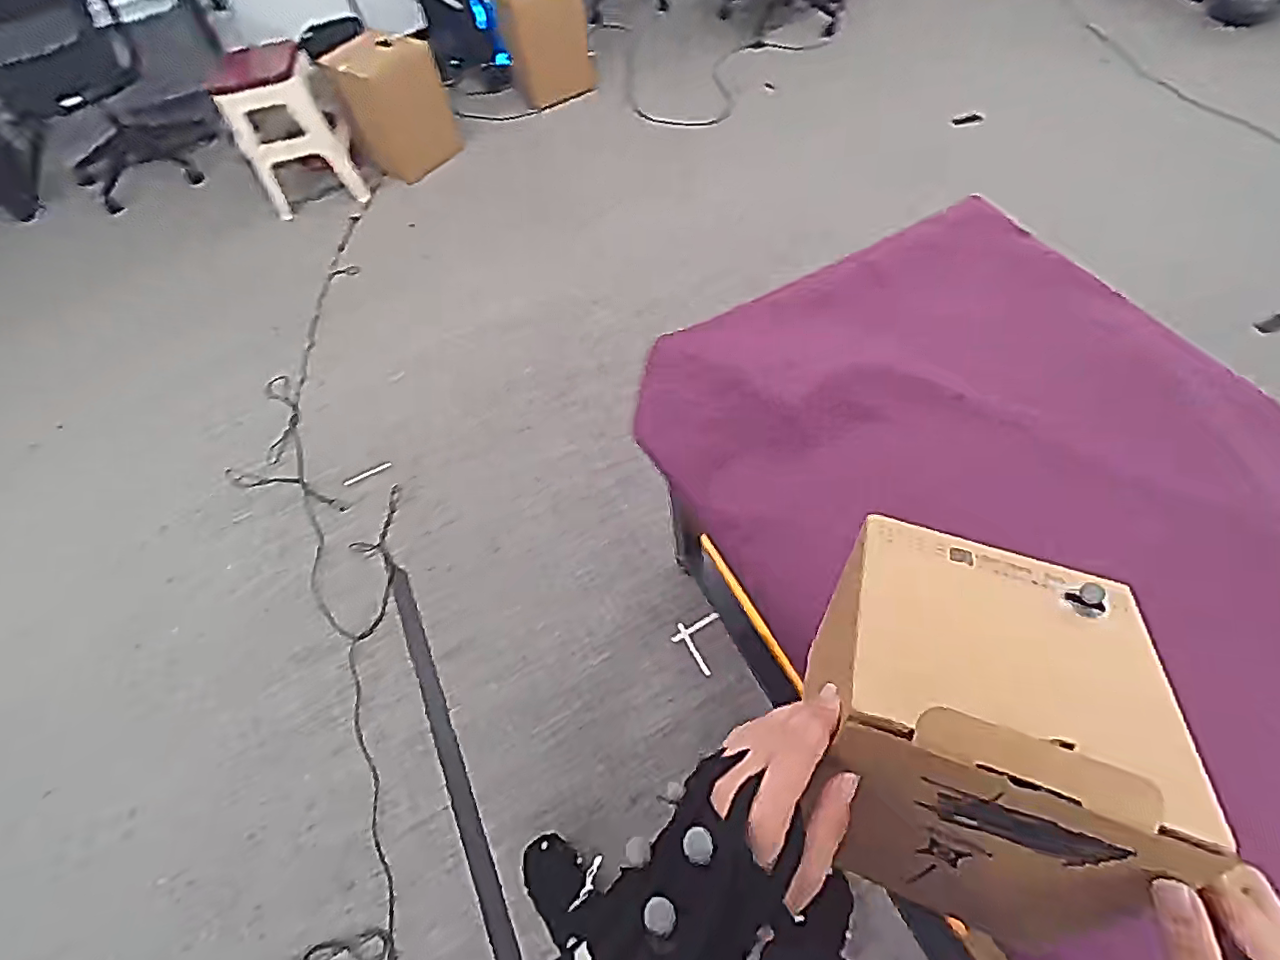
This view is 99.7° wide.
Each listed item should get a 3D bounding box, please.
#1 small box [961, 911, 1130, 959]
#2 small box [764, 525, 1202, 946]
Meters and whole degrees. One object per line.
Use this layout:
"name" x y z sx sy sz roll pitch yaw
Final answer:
"small box" 0.629 0.758 0.808 0.168 0.176 0.179 -28 61 -9
"small box" 0.193 0.157 0.366 0.168 0.179 0.176 15 40 15
